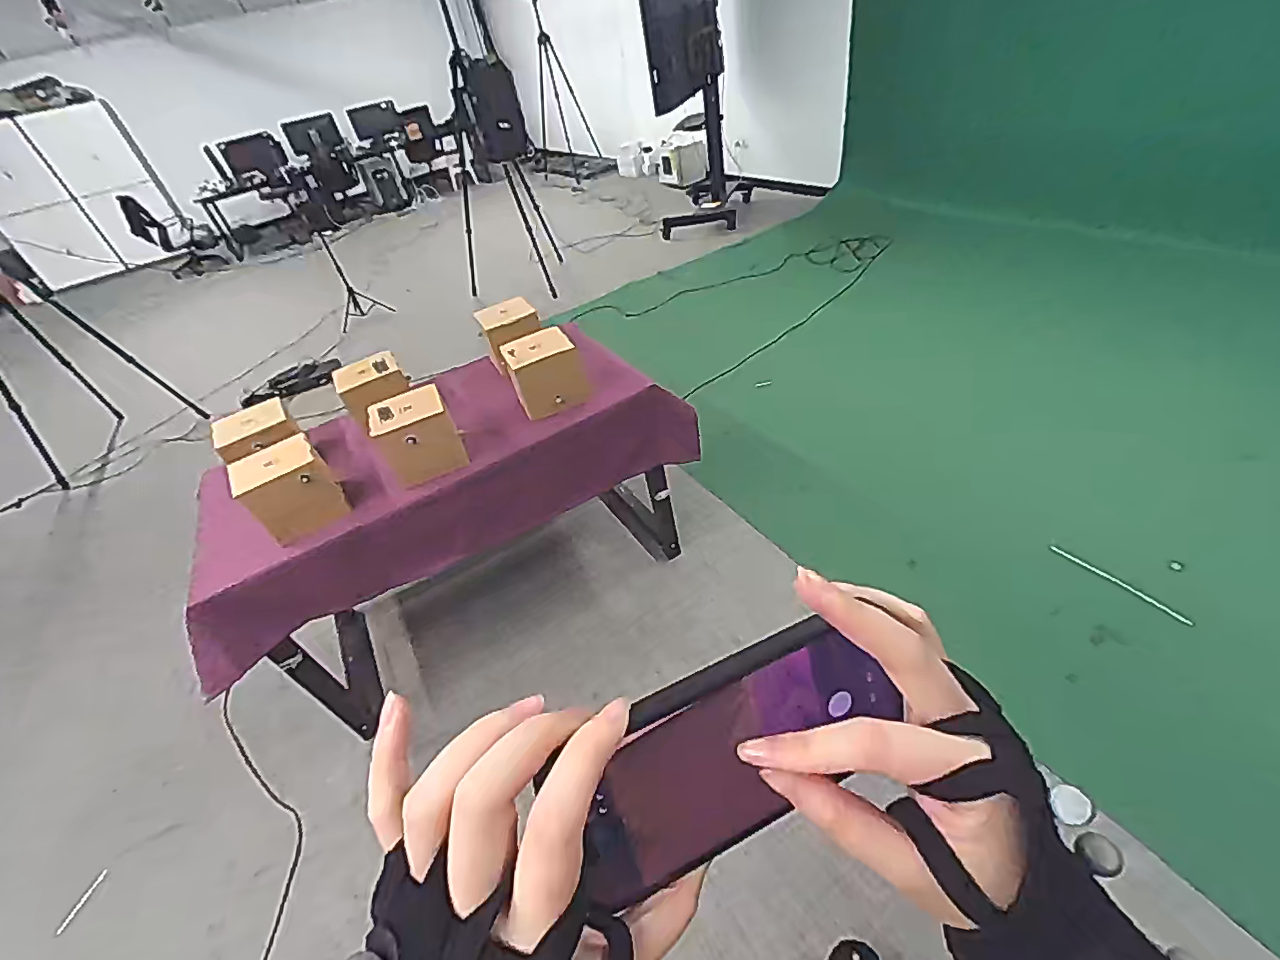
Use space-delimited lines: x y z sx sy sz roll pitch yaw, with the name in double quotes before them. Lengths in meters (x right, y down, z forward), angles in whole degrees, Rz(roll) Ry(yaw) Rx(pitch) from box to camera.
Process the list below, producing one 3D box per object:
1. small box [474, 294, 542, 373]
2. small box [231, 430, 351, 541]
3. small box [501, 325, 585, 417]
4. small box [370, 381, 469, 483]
"small box" -0.408 -0.466 1.726 0.168 0.176 0.179 -26 43 -14
"small box" -0.829 0.015 1.289 0.179 0.176 0.168 -31 43 -22
"small box" -0.262 -0.302 1.501 0.179 0.176 0.168 -23 41 -12
"small box" -0.557 -0.119 1.370 0.179 0.176 0.168 -23 42 -13
